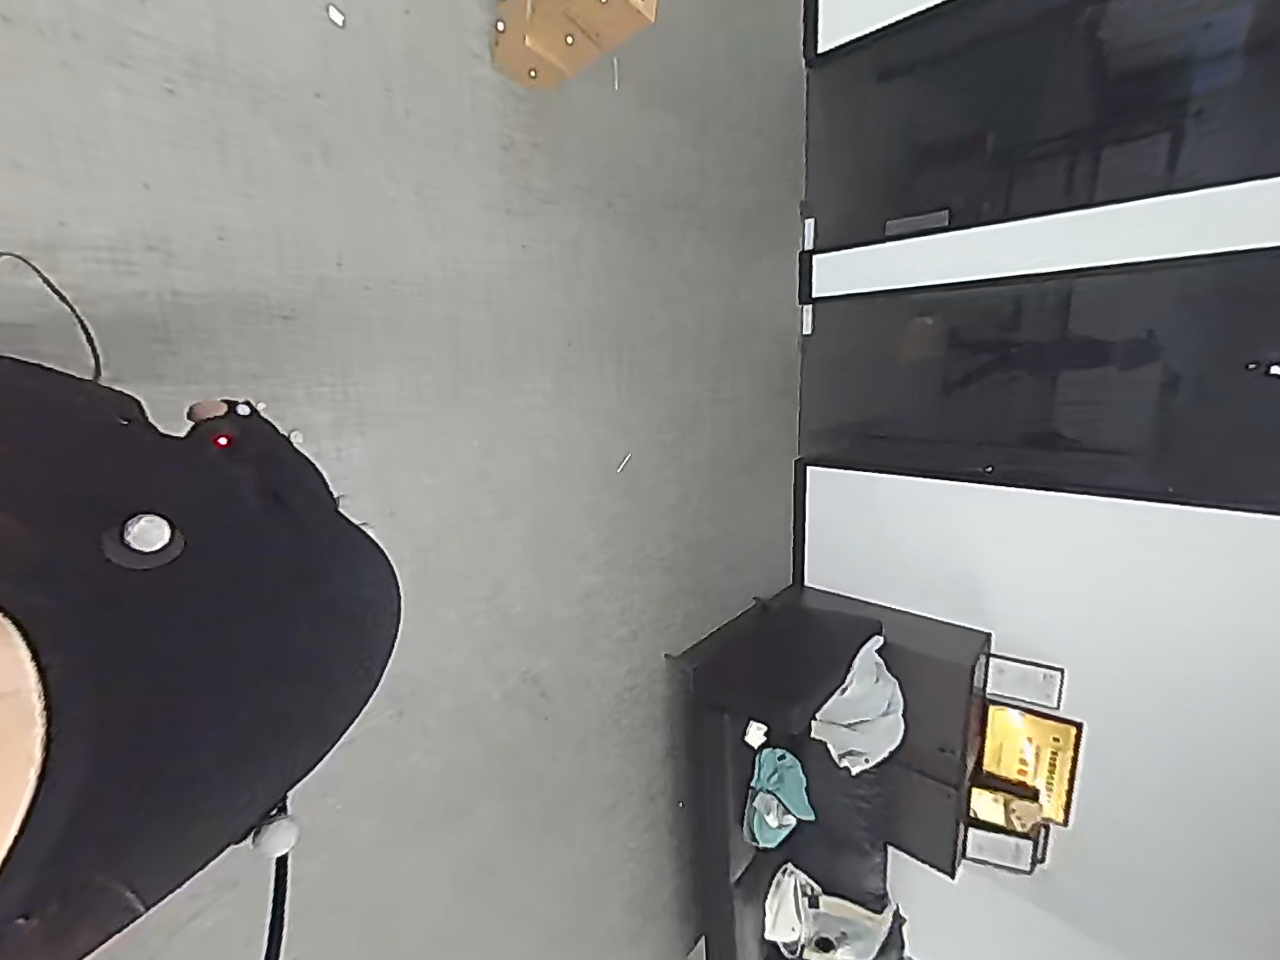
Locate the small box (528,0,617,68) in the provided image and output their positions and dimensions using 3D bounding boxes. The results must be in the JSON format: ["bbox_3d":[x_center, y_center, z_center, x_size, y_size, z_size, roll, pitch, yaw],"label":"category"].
[{"bbox_3d":[-0.186,-1.284,1.481,0.179,0.176,0.168,5,94,-48],"label":"small box"}]

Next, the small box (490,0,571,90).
[{"bbox_3d":[-0.315,-1.285,1.583,0.179,0.176,0.168,-1,98,-48],"label":"small box"}]
